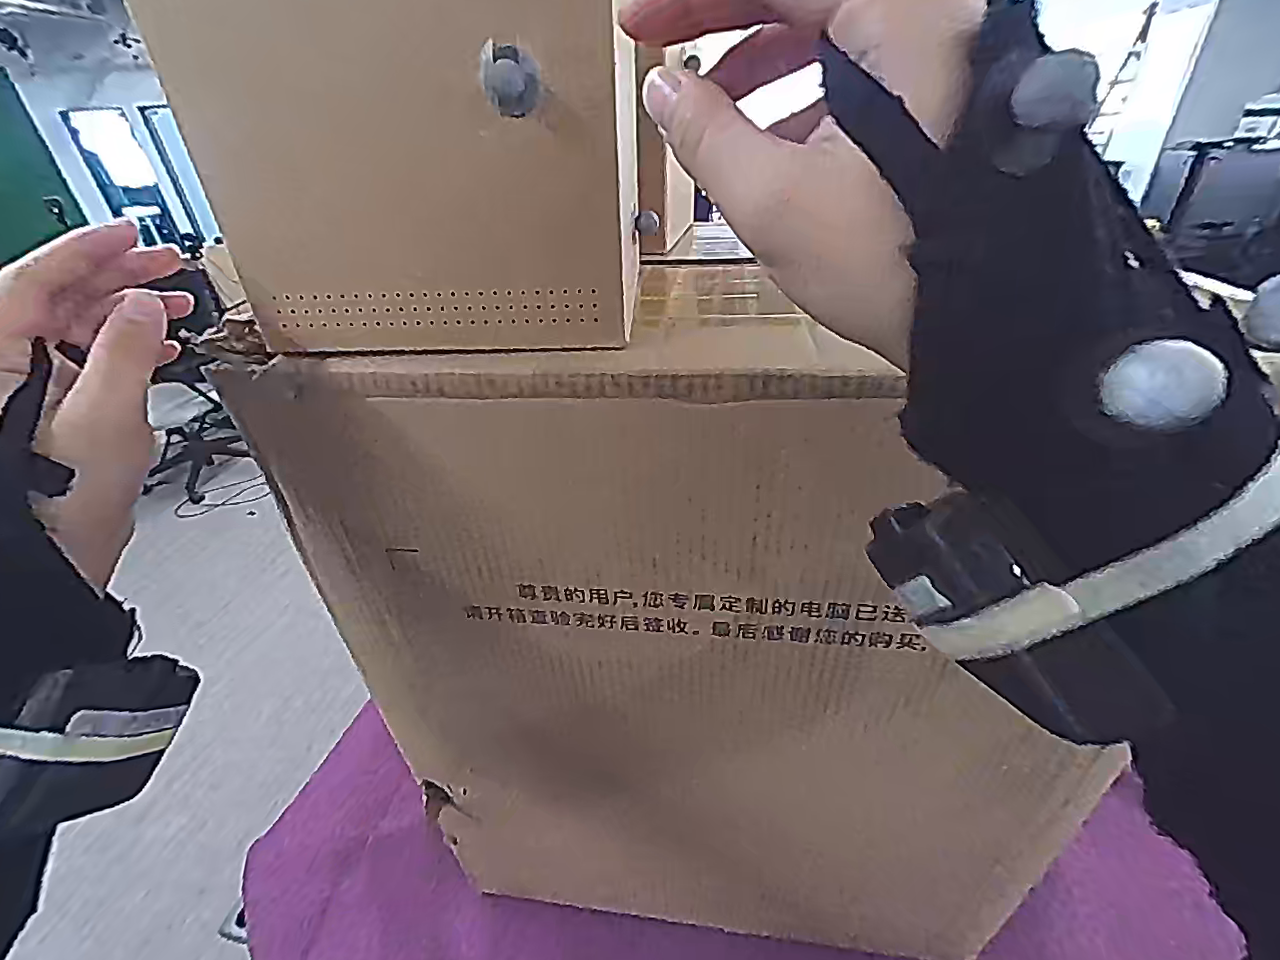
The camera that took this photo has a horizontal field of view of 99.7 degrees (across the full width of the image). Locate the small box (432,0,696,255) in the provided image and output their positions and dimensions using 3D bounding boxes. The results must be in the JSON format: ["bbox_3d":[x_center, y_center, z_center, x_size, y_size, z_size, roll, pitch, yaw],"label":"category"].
[{"bbox_3d":[-0.044,-0.295,0.463,0.168,0.176,0.179,5,33,10],"label":"small box"}]
